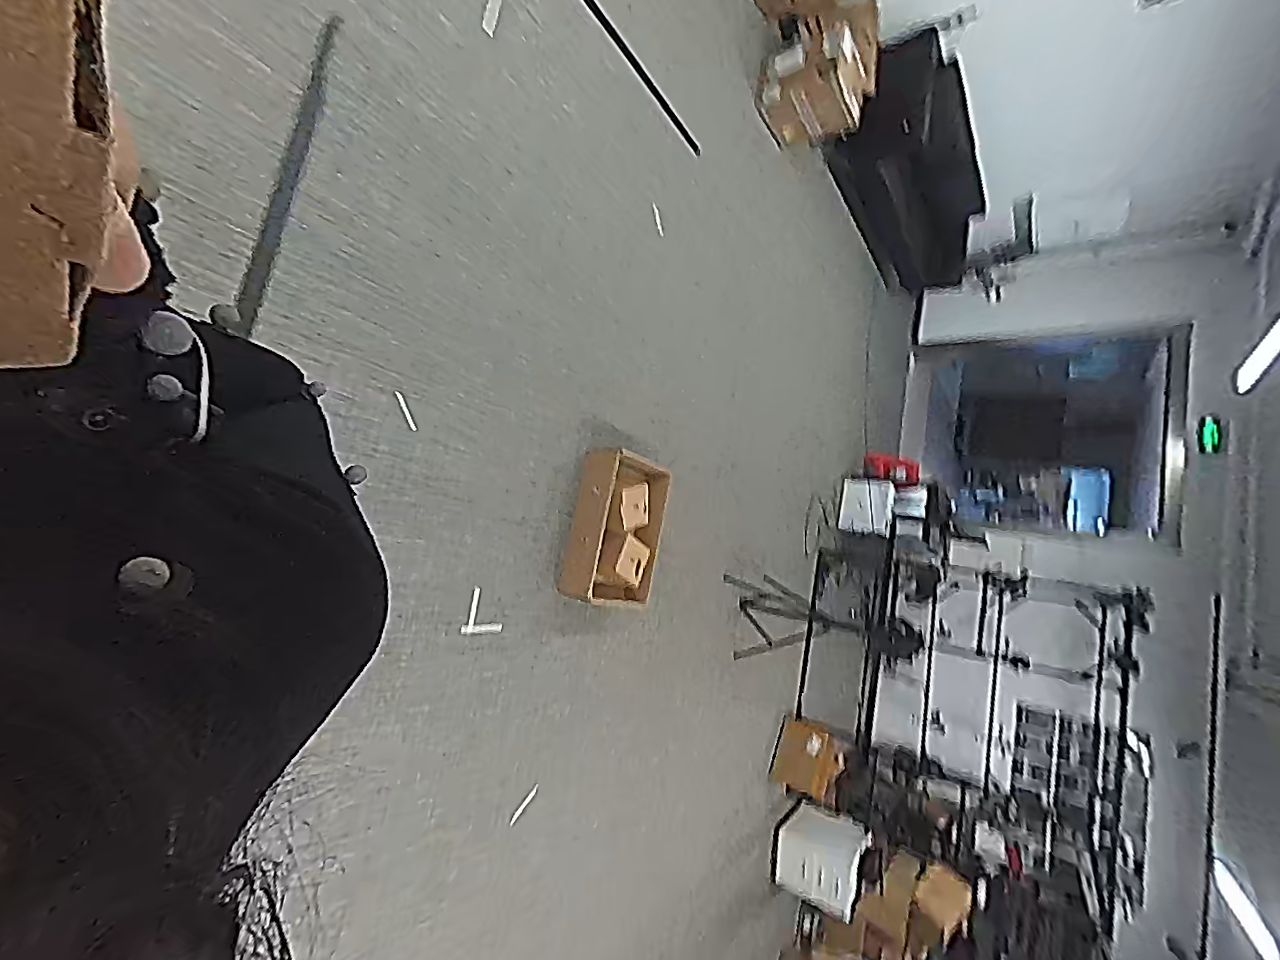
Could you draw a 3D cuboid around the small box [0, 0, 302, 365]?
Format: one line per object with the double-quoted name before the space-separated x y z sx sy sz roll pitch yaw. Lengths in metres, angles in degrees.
"small box" -0.163 -0.121 0.049 0.179 0.168 0.176 -11 85 -49
